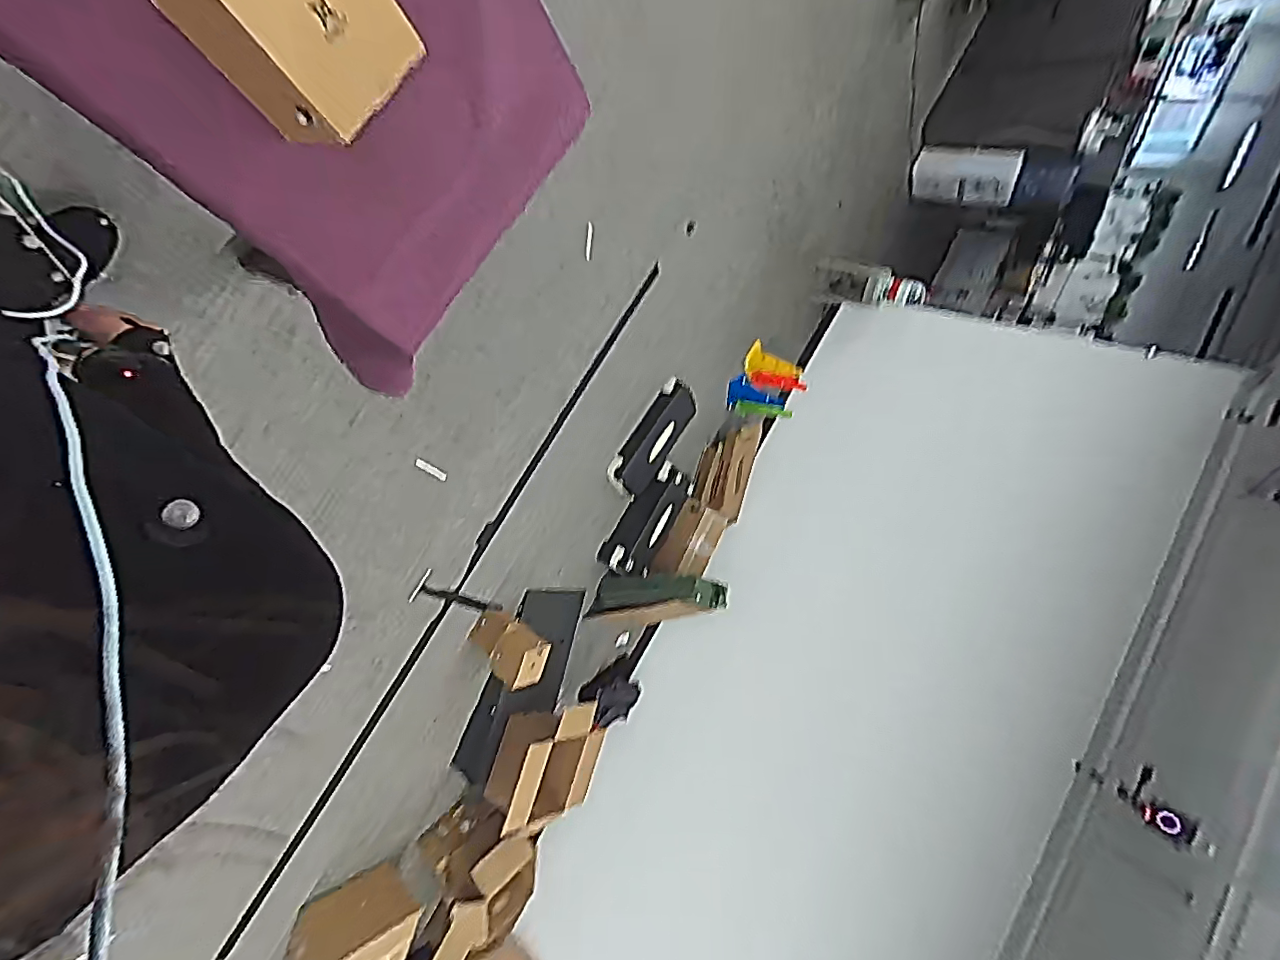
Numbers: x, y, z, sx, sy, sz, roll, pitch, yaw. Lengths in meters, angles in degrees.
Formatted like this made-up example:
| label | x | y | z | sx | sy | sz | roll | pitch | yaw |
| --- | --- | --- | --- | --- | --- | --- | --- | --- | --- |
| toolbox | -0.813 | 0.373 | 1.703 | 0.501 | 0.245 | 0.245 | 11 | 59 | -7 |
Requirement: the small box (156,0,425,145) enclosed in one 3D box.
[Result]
| label | x | y | z | sx | sy | sz | roll | pitch | yaw |
| --- | --- | --- | --- | --- | --- | --- | --- | --- | --- |
| small box | -0.402 | -0.525 | 0.630 | 0.168 | 0.176 | 0.179 | -59 | 148 | -10 |
